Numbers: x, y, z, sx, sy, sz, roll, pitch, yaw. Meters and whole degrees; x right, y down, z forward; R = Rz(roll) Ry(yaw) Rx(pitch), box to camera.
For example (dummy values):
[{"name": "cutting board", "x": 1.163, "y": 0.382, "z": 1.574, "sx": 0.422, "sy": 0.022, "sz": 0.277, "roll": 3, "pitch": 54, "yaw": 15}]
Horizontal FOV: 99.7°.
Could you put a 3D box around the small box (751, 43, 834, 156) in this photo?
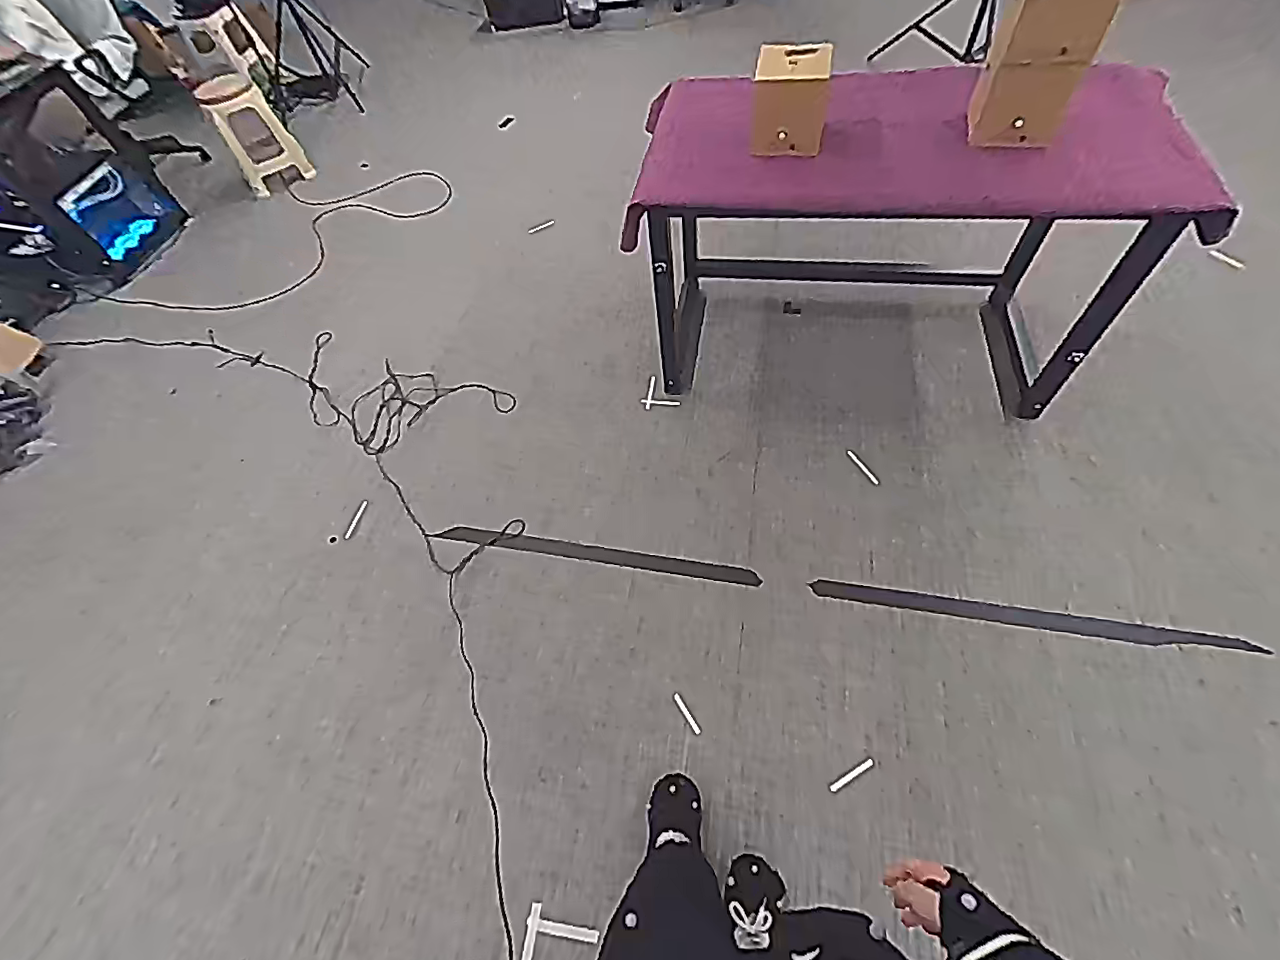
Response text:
[{"name": "small box", "x": 0.361, "y": -0.911, "z": 1.296, "sx": 0.168, "sy": 0.176, "sz": 0.179, "roll": 7, "pitch": 60, "yaw": 12}]

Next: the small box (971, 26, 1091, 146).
[{"name": "small box", "x": 0.860, "y": -0.880, "z": 1.209, "sx": 0.168, "sy": 0.176, "sz": 0.179, "roll": 11, "pitch": 60, "yaw": 15}]
